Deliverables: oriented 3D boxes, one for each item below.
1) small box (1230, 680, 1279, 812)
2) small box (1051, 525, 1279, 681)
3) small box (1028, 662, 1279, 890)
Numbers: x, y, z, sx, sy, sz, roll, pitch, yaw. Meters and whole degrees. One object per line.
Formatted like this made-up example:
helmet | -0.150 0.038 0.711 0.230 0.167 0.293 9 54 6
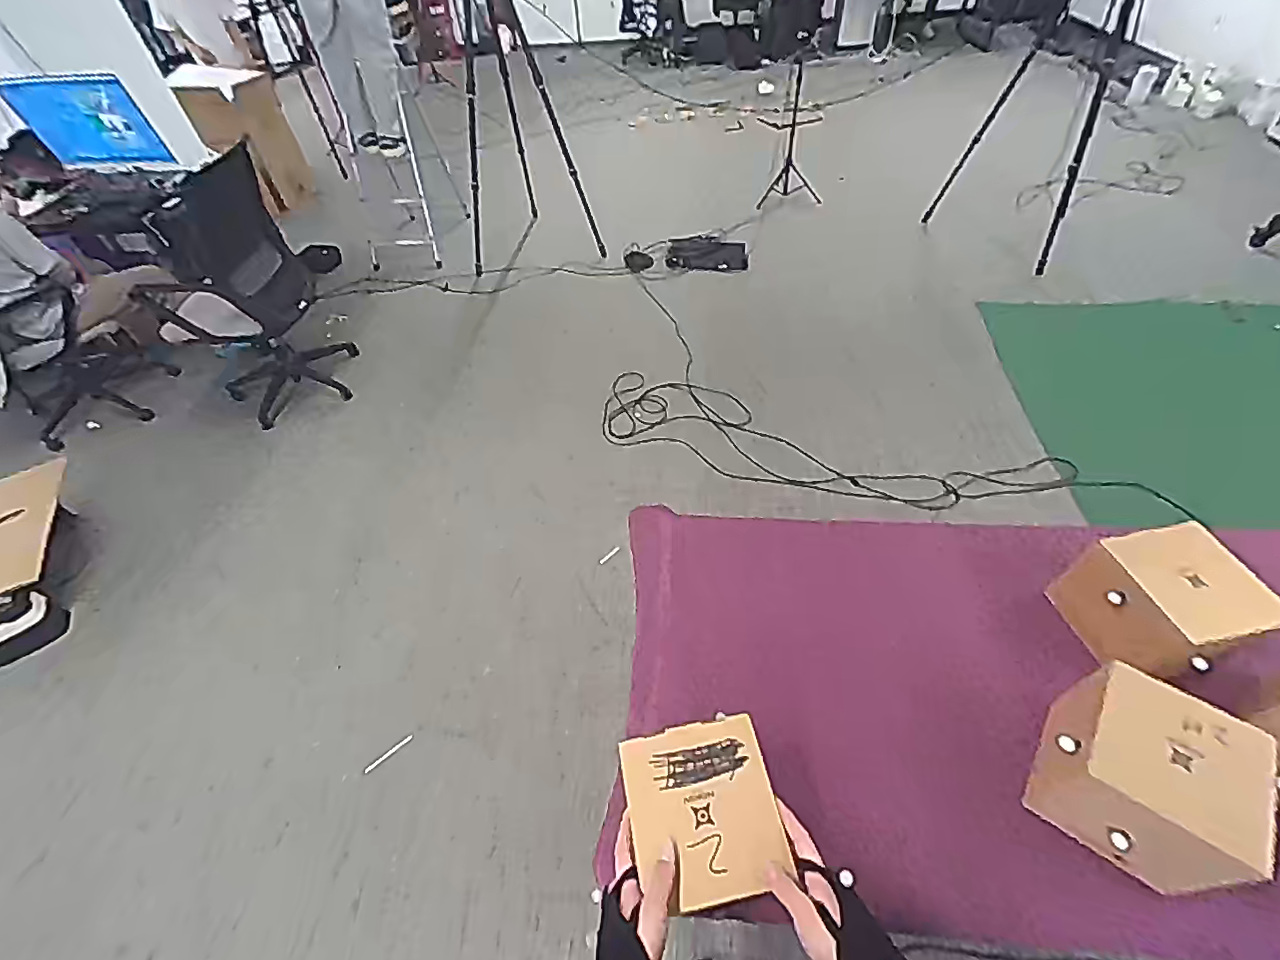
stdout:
small box | 0.915 0.345 0.693 0.179 0.176 0.168 -25 51 -15
small box | 0.800 0.199 0.834 0.168 0.176 0.179 -10 49 -4
small box | 0.632 0.376 0.685 0.168 0.176 0.179 30 57 26
